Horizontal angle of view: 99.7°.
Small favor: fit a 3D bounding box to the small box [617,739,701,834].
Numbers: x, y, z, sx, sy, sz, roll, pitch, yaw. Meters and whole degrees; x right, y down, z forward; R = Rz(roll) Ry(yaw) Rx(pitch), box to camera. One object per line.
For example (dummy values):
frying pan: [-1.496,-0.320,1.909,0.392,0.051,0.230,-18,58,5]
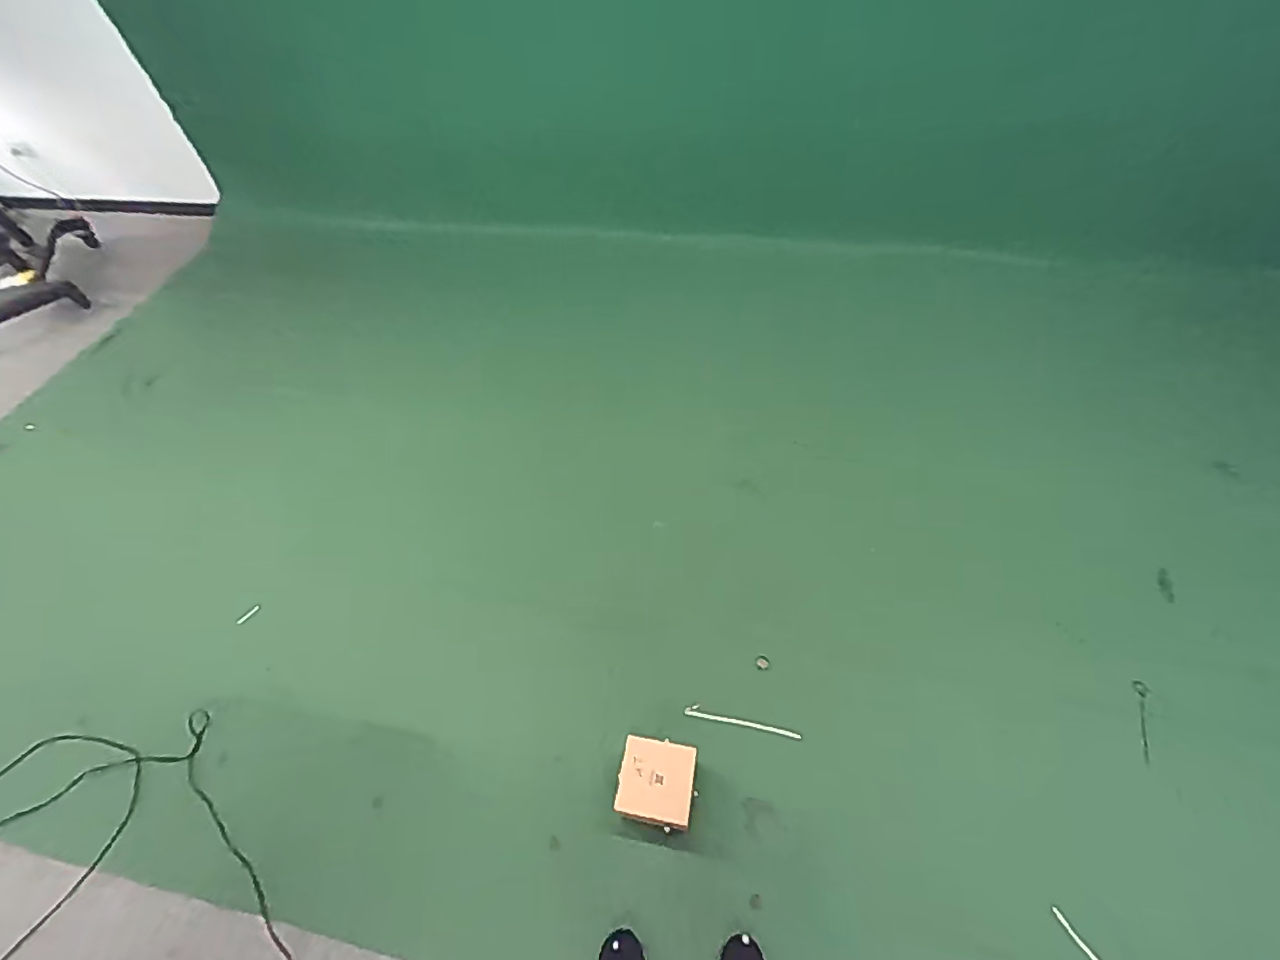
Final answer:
small box: [0.052,0.763,1.338,0.179,0.176,0.168,7,54,10]
